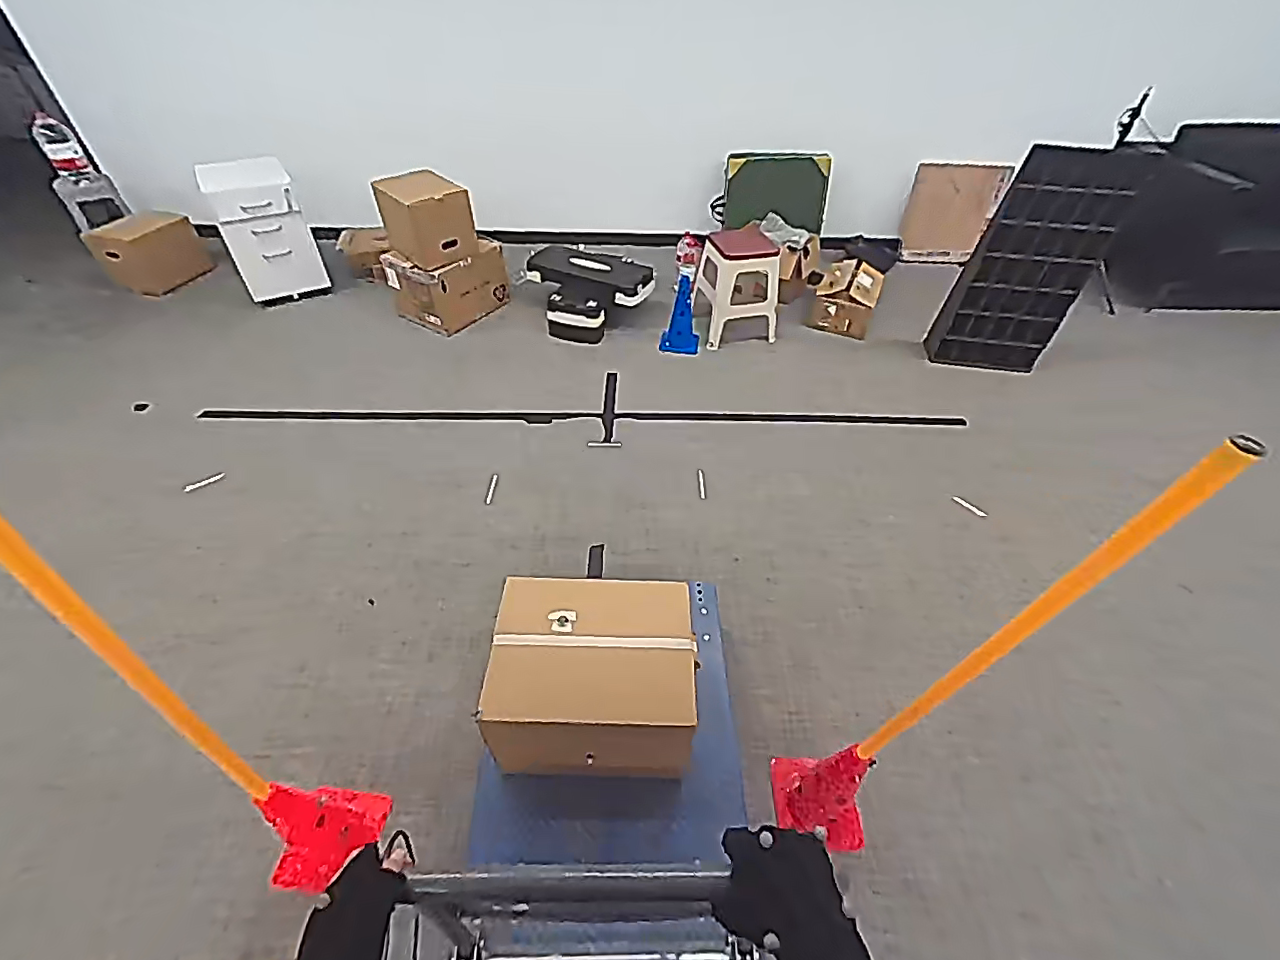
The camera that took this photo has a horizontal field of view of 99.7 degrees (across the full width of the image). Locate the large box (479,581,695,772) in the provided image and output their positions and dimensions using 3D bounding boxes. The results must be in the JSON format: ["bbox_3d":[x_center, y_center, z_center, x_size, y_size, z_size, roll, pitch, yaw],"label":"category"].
[{"bbox_3d":[-0.097,0.438,1.200,0.408,0.320,0.320,1,45,0],"label":"large box"}]

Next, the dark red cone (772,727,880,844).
[{"bbox_3d":[0.437,0.643,1.188,0.201,0.394,0.202,2,45,-2],"label":"dark red cone"}]

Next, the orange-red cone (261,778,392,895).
[{"bbox_3d":[-0.694,0.697,1.128,0.198,0.360,0.199,7,43,4],"label":"orange-red cone"}]
